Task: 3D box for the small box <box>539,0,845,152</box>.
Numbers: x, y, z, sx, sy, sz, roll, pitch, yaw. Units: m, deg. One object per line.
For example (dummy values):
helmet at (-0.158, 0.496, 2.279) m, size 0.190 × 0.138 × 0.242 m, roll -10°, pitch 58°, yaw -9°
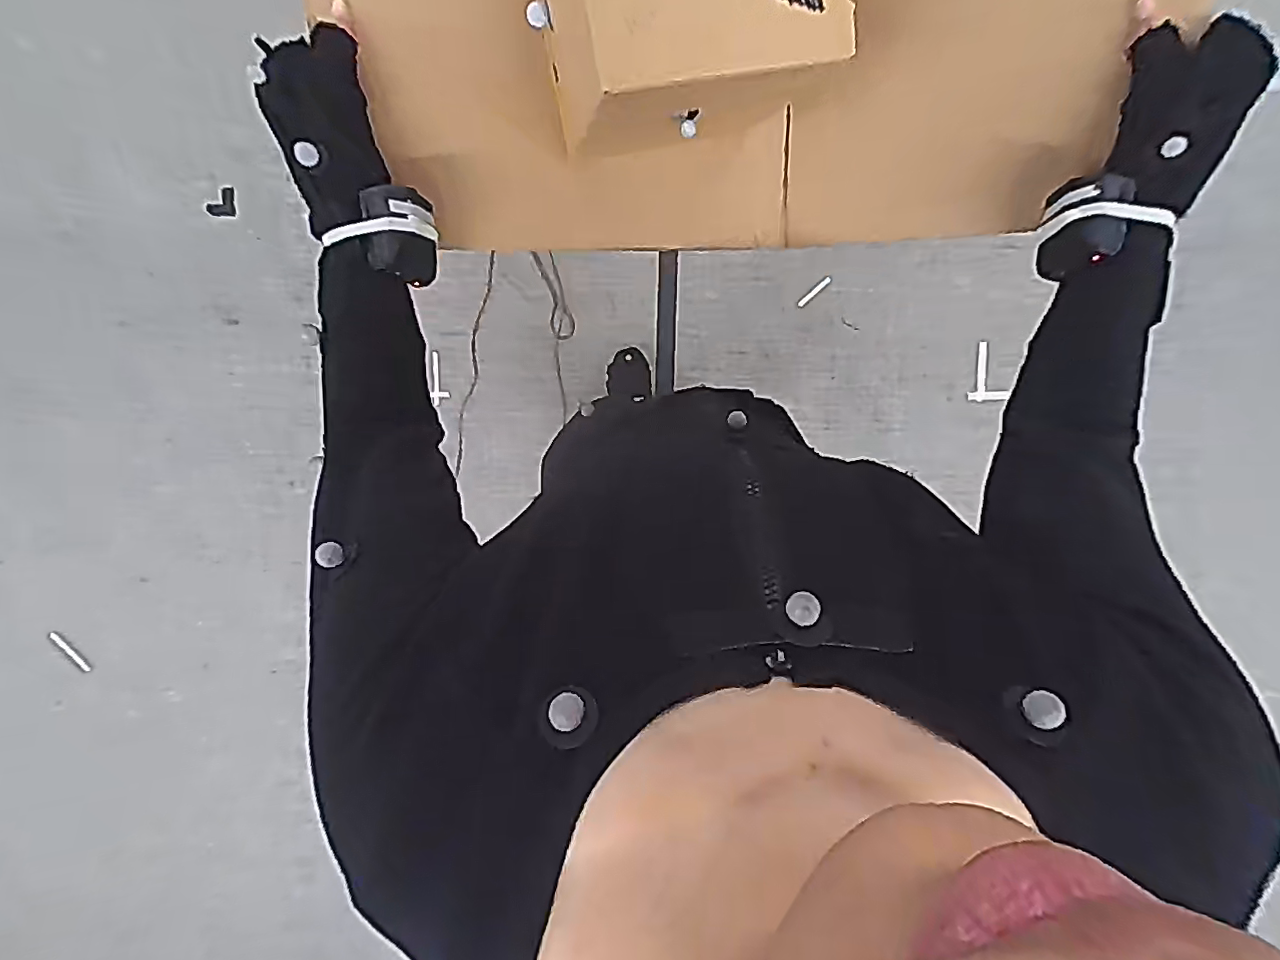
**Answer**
small box at (0.024, -0.364, 0.398) m, size 0.179 × 0.176 × 0.168 m, roll -14°, pitch 110°, yaw -9°
